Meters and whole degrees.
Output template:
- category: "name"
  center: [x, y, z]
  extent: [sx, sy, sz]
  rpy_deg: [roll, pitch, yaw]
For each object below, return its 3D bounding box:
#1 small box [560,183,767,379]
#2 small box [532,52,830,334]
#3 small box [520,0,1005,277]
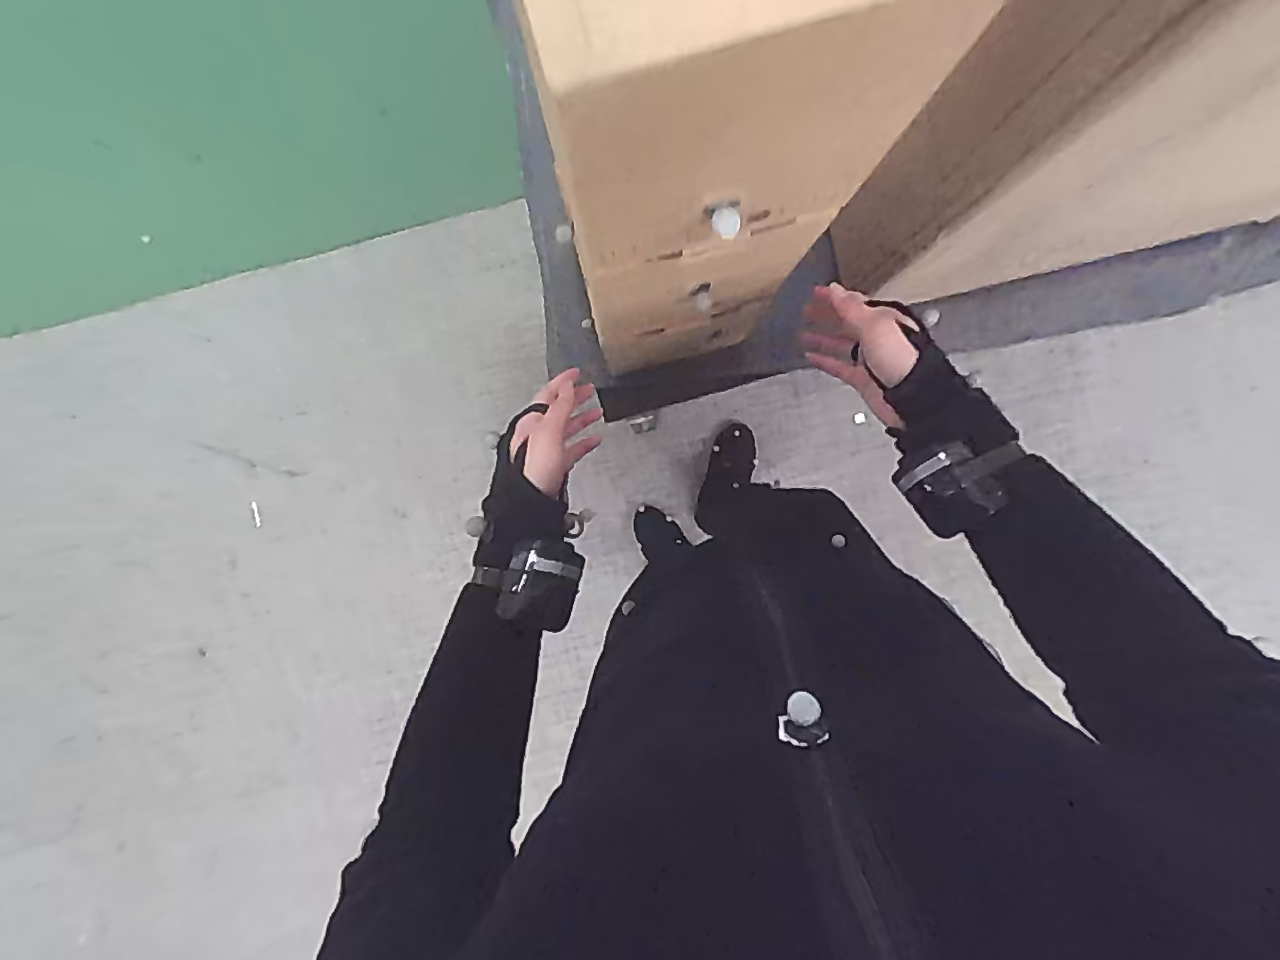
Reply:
- category: "small box"
  center: [0.024, -0.221, 0.597]
  extent: [0.168, 0.176, 0.179]
  rpy_deg: [-16, 88, -1]
- category: "small box"
  center: [0.027, -0.228, 0.432]
  extent: [0.168, 0.176, 0.179]
  rpy_deg: [-15, 90, 0]
- category: "small box"
  center: [0.029, -0.230, 0.267]
  extent: [0.168, 0.176, 0.179]
  rpy_deg: [-15, 91, 0]
